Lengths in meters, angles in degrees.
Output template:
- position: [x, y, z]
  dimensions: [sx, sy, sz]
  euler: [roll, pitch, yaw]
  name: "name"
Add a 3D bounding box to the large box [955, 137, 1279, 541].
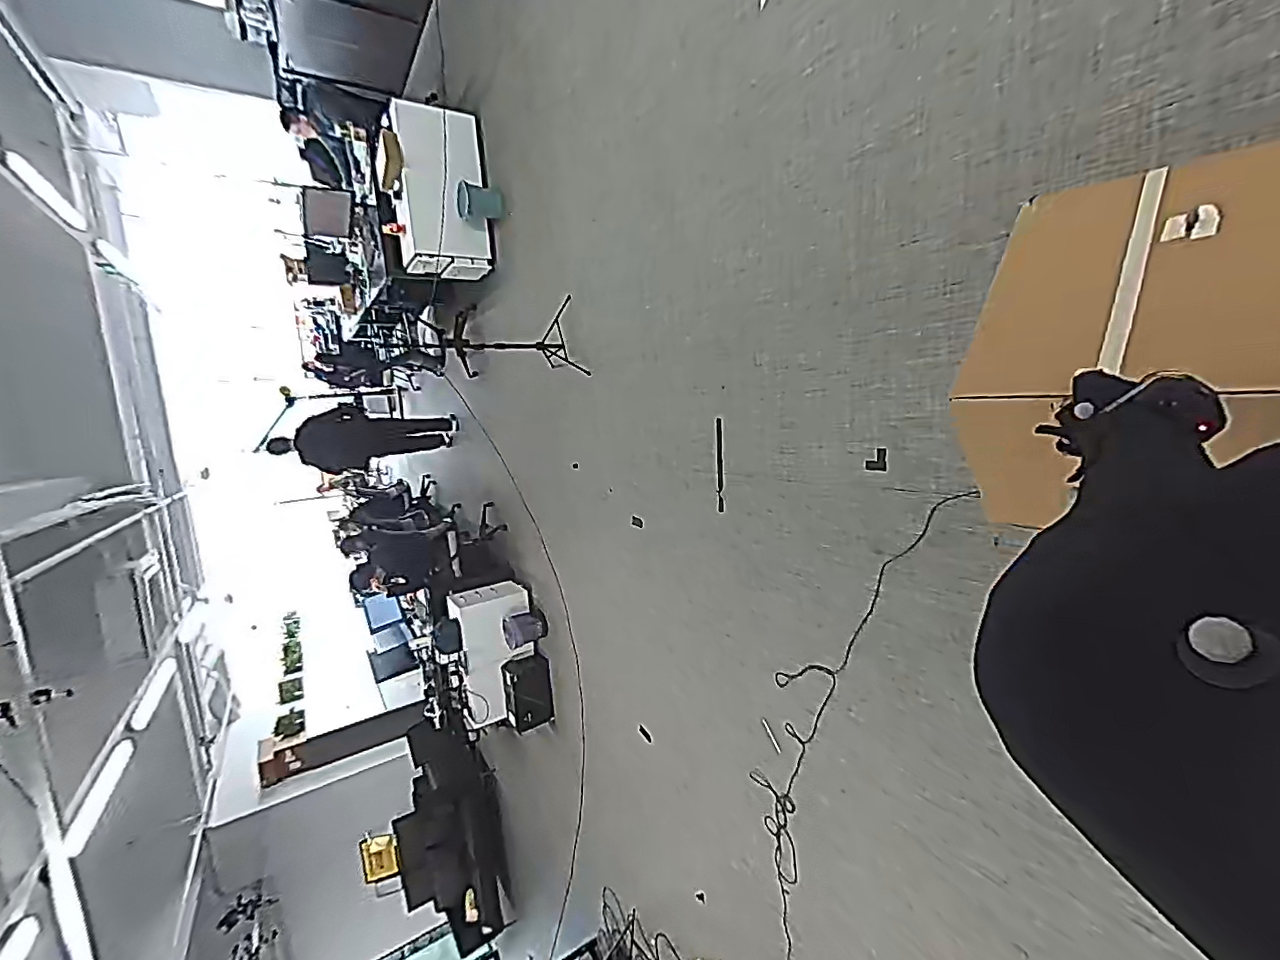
- position: [0.698, -0.176, 0.758]
  dimensions: [0.320, 0.408, 0.320]
  euler: [9, 151, 48]
  name: "large box"
